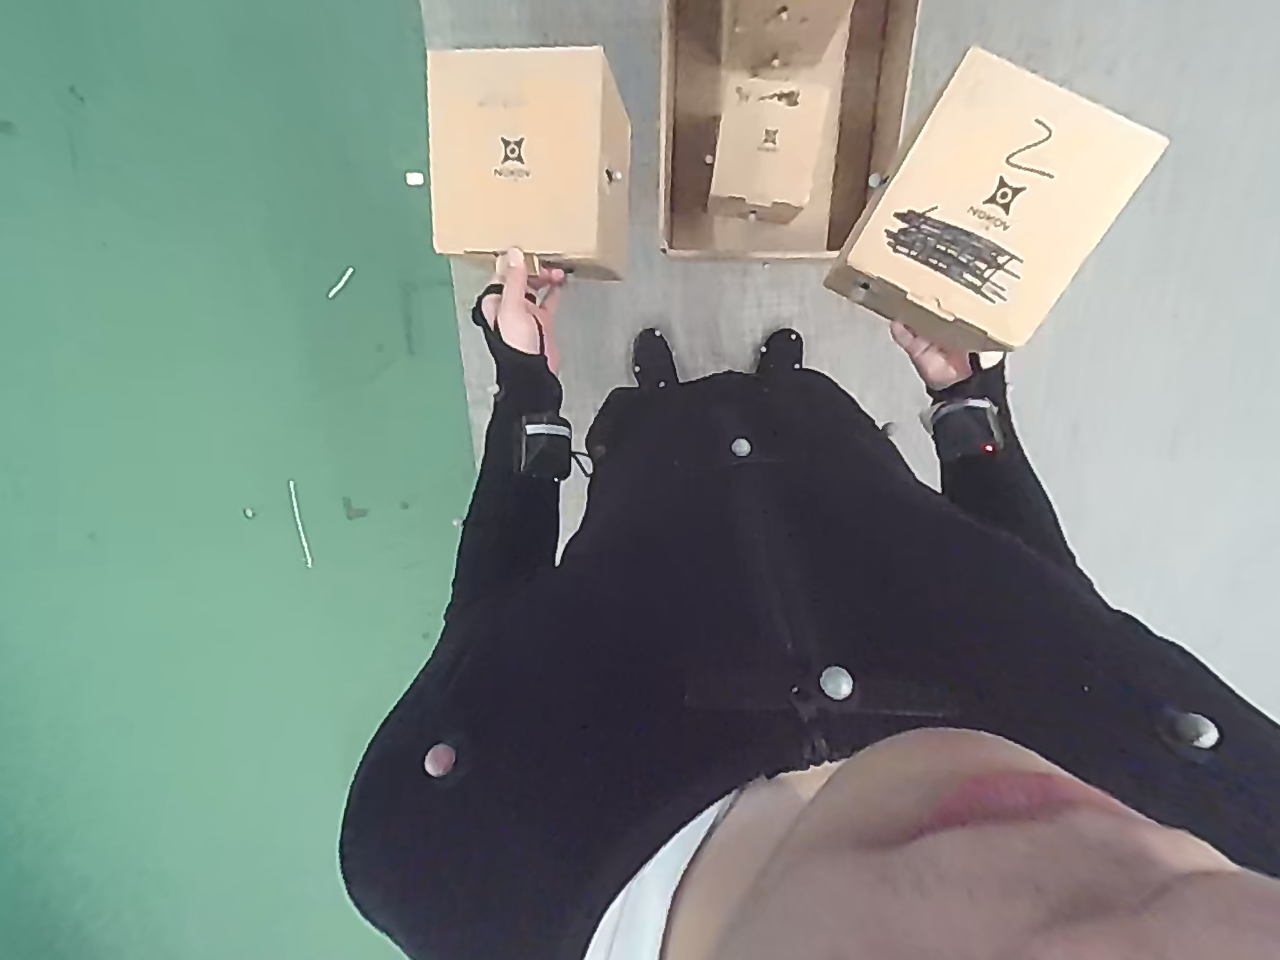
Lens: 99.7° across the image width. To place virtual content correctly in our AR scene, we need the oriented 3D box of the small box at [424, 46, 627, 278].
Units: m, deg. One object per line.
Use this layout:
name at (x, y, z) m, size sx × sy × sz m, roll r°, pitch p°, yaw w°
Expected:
small box at (-0.110, -0.319, 0.578) m, size 0.168 × 0.176 × 0.179 m, roll 5°, pitch 102°, yaw 7°

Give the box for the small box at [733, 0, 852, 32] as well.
small box at (0.217, -0.751, 0.730) m, size 0.168 × 0.176 × 0.179 m, roll 1°, pitch 109°, yaw 5°

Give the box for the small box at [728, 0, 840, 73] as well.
small box at (0.233, -0.803, 0.882) m, size 0.168 × 0.176 × 0.179 m, roll 2°, pitch 108°, yaw 6°
